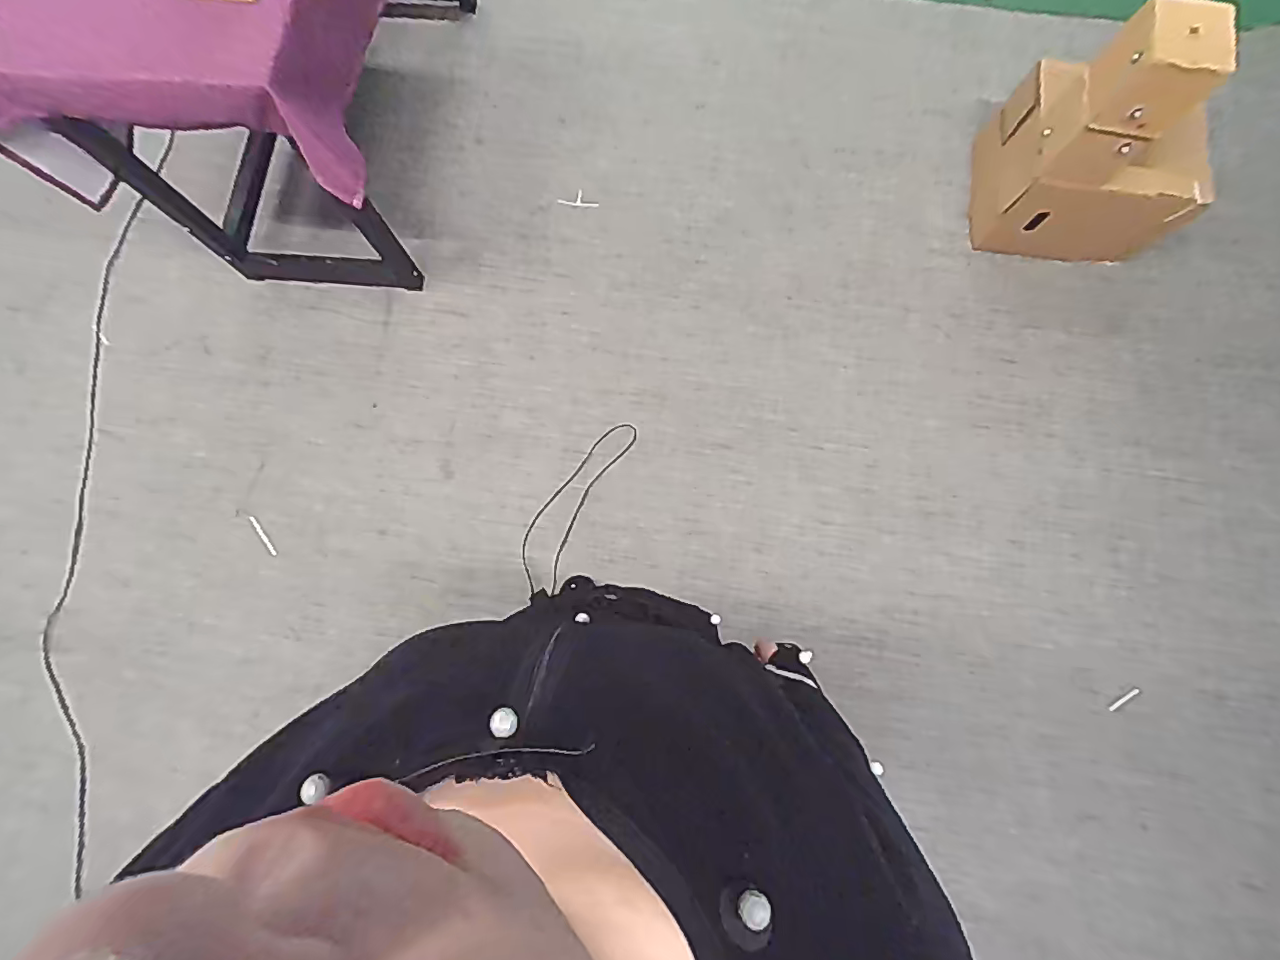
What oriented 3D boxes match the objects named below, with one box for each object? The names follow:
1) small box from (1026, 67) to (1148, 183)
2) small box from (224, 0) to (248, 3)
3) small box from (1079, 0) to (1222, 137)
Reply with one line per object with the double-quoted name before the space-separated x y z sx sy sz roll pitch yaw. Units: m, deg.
"small box" 1.120 -0.884 1.361 0.179 0.176 0.168 10 78 2
"small box" -0.818 -1.026 0.986 0.168 0.176 0.179 8 77 2
"small box" 1.123 -0.914 1.201 0.168 0.176 0.179 11 80 1
